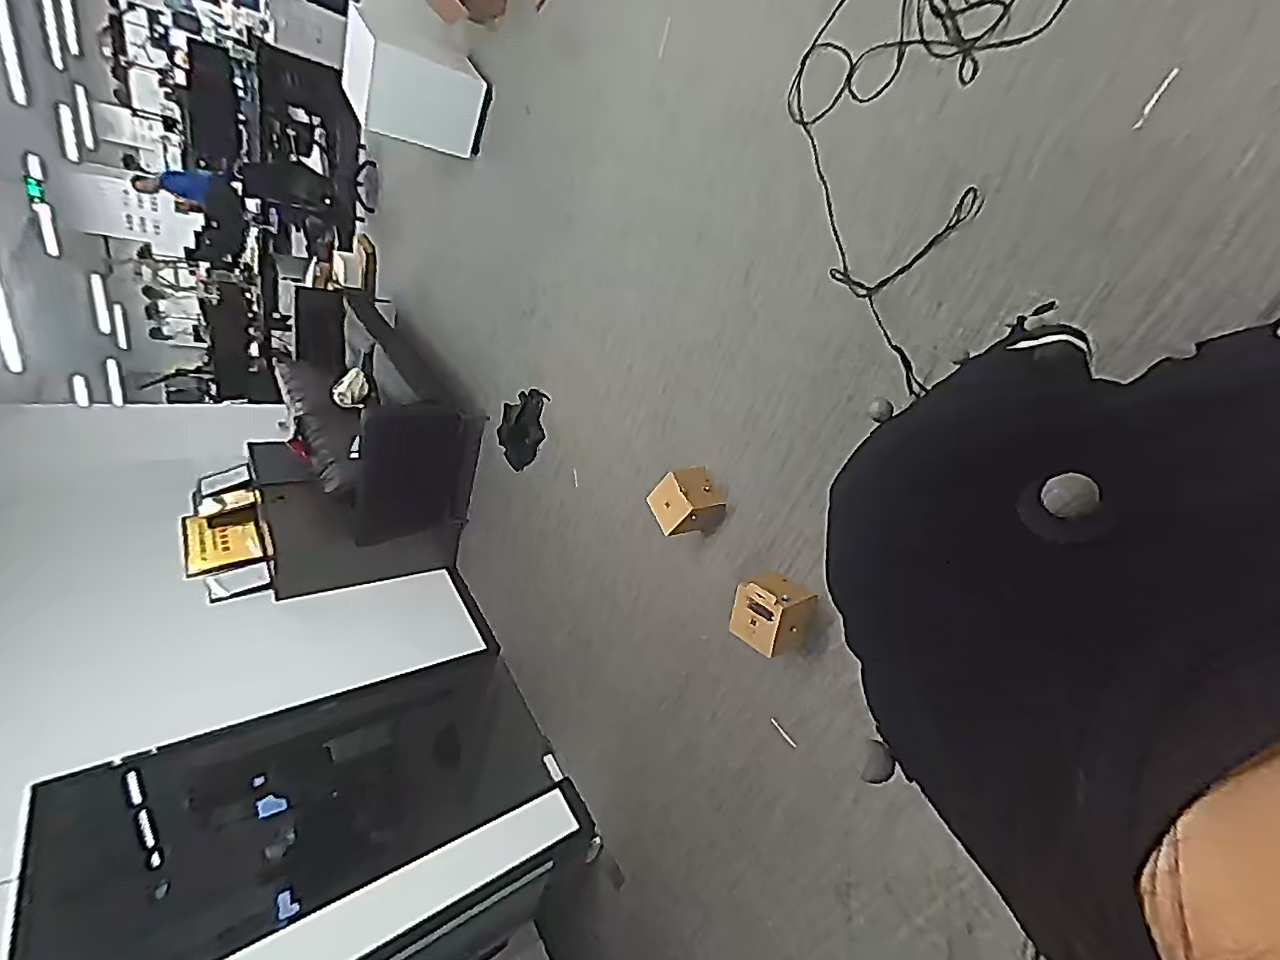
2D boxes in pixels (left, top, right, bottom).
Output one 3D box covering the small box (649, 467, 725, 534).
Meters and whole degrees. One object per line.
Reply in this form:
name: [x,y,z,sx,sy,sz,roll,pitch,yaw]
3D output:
small box: [0.168,0.070,1.904,0.179,0.176,0.168,-52,56,41]
